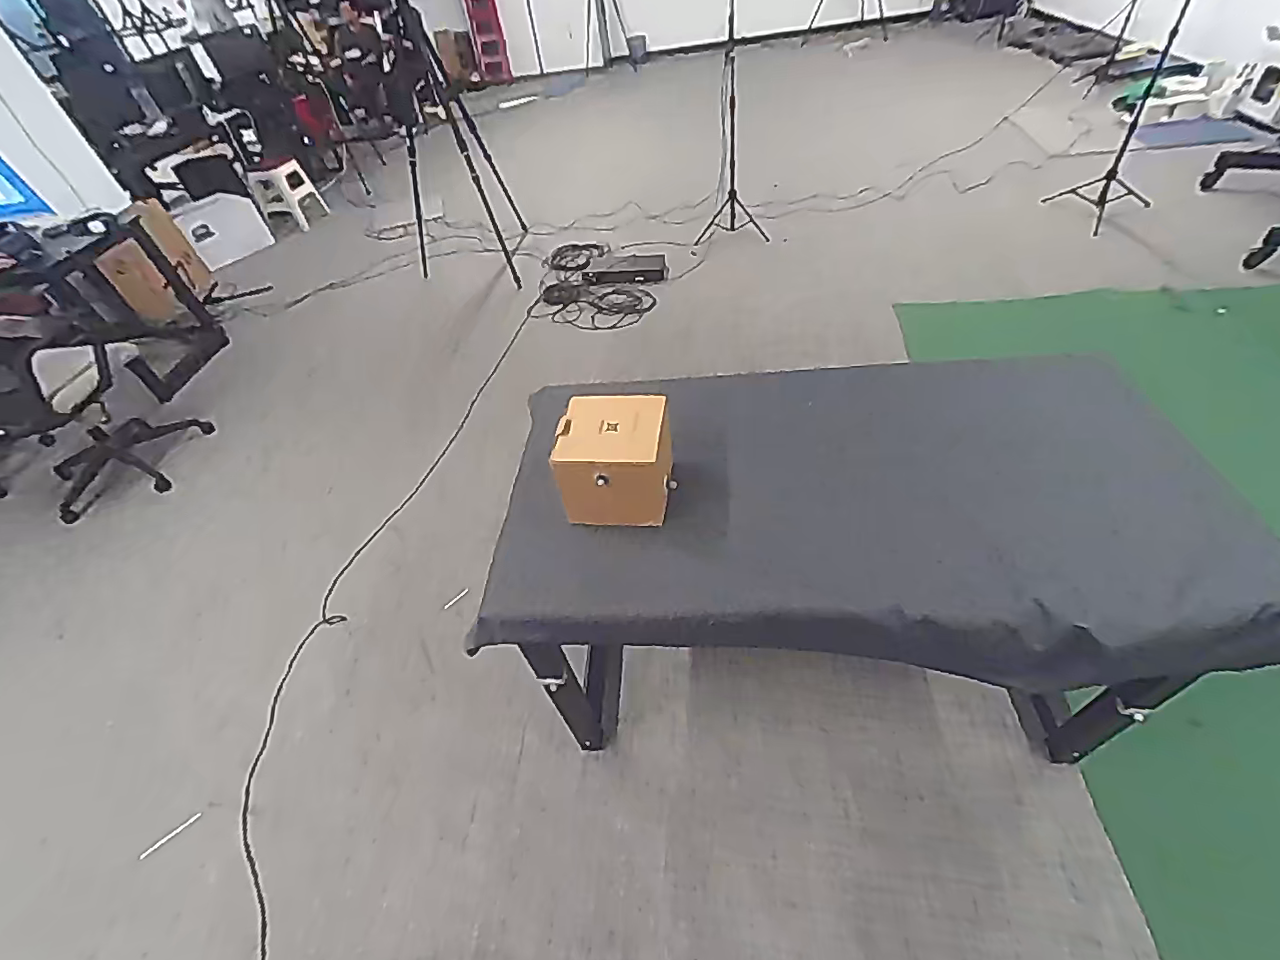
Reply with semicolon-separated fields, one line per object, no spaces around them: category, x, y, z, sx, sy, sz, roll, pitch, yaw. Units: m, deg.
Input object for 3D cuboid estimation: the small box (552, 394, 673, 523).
small box;-0.039;-0.037;0.968;0.179;0.176;0.168;2;49;9
